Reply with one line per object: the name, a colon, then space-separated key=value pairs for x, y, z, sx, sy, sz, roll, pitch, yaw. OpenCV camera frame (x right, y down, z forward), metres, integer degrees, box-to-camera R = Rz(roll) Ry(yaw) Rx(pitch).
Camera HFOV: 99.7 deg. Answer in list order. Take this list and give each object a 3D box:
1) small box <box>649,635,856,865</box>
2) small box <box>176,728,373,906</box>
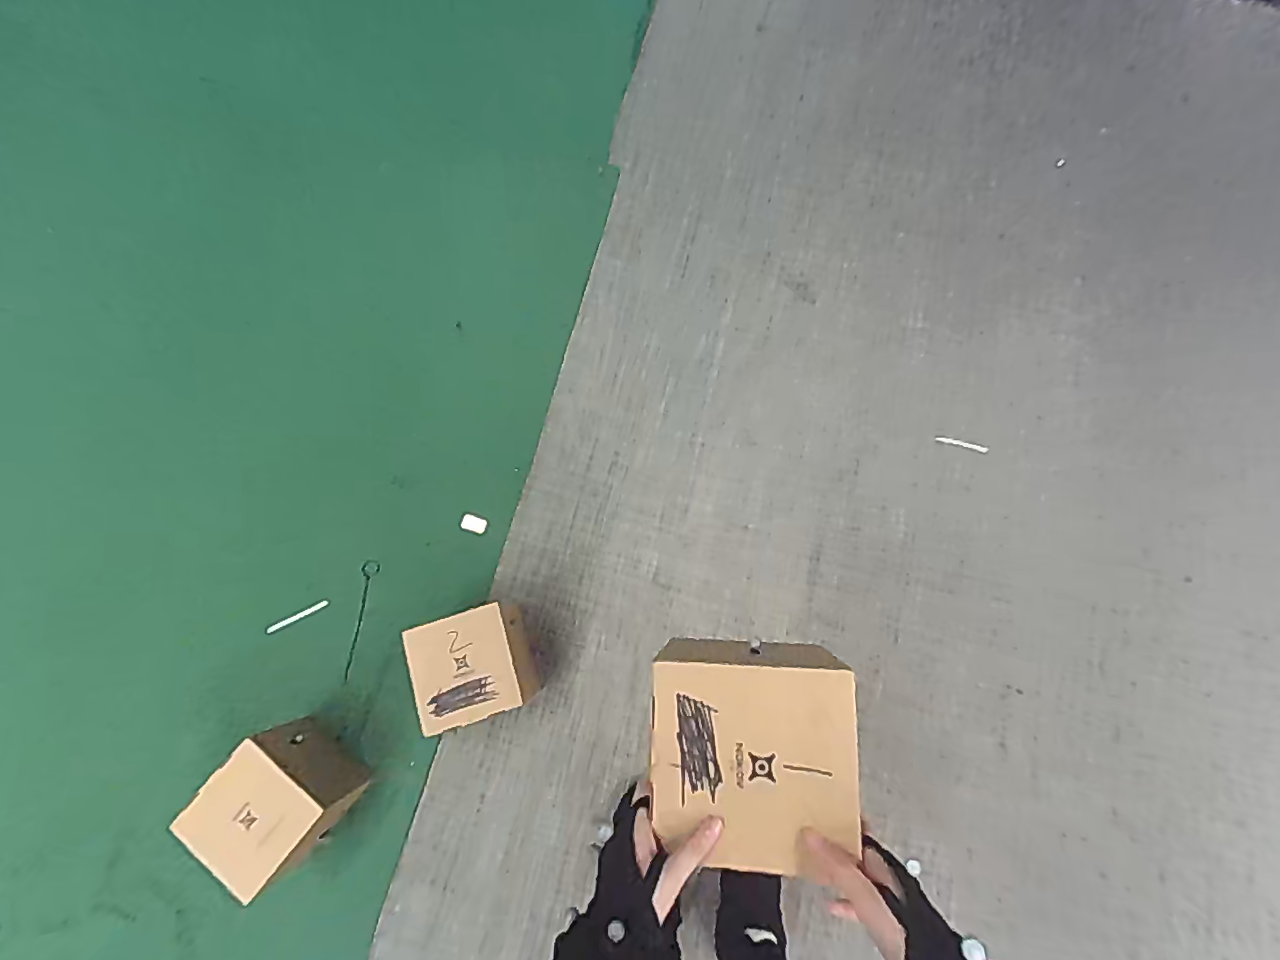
small box: x=0.108 y=0.254 z=0.552 sx=0.179 sy=0.176 sz=0.168 roll=-1 pitch=80 yaw=9
small box: x=-0.599 y=0.545 z=0.910 sx=0.179 sy=0.176 sz=0.168 roll=38 pitch=79 yaw=8
